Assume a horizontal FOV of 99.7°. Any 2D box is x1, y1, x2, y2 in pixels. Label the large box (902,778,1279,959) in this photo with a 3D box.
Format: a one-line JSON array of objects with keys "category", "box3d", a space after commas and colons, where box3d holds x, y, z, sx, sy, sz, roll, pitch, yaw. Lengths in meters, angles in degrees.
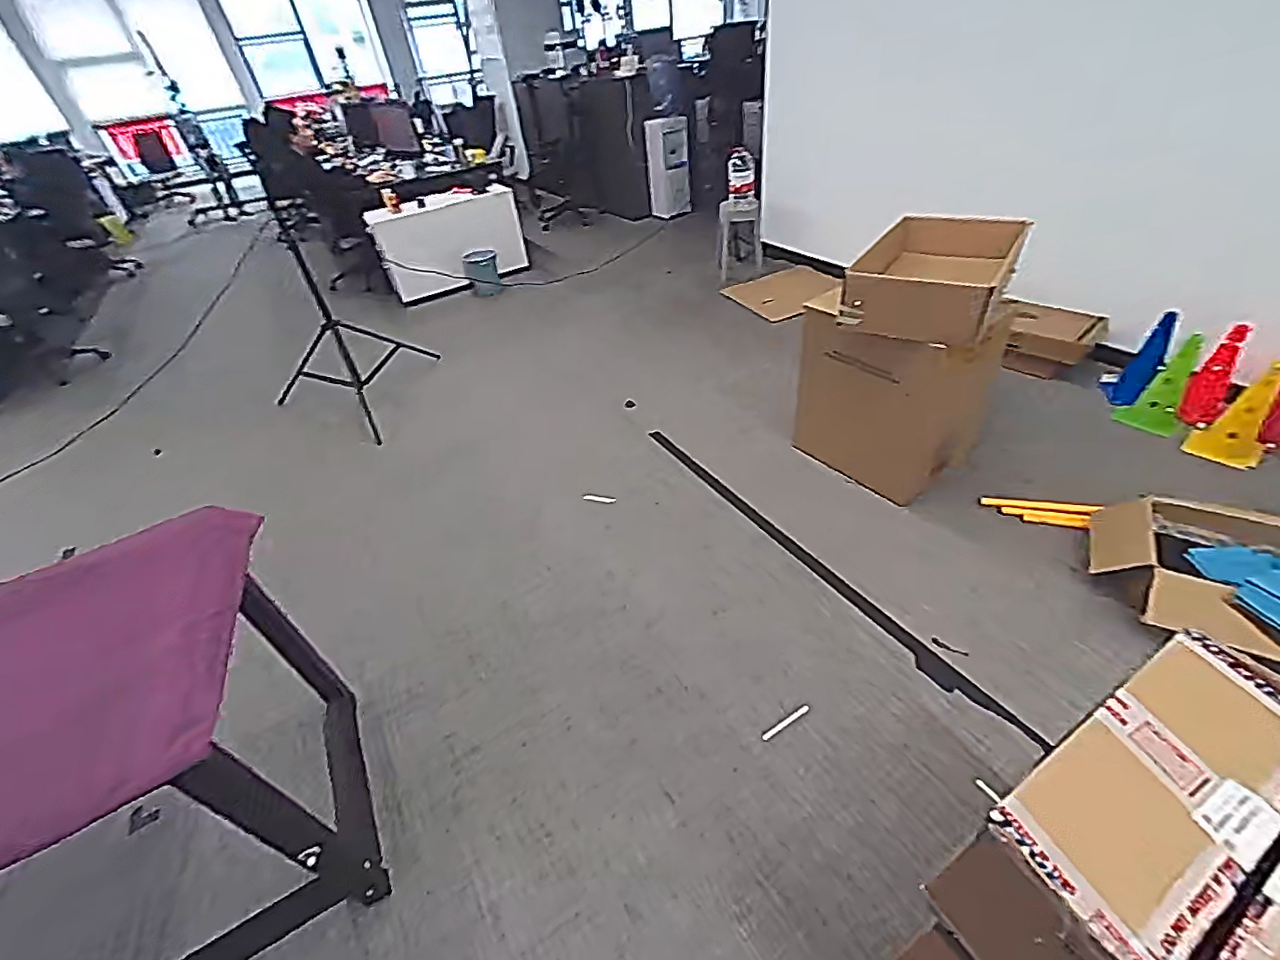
[{"category": "large box", "box3d": [0.722, 0.804, 0.900, 0.408, 0.320, 0.320, -27, 43, -20]}]
